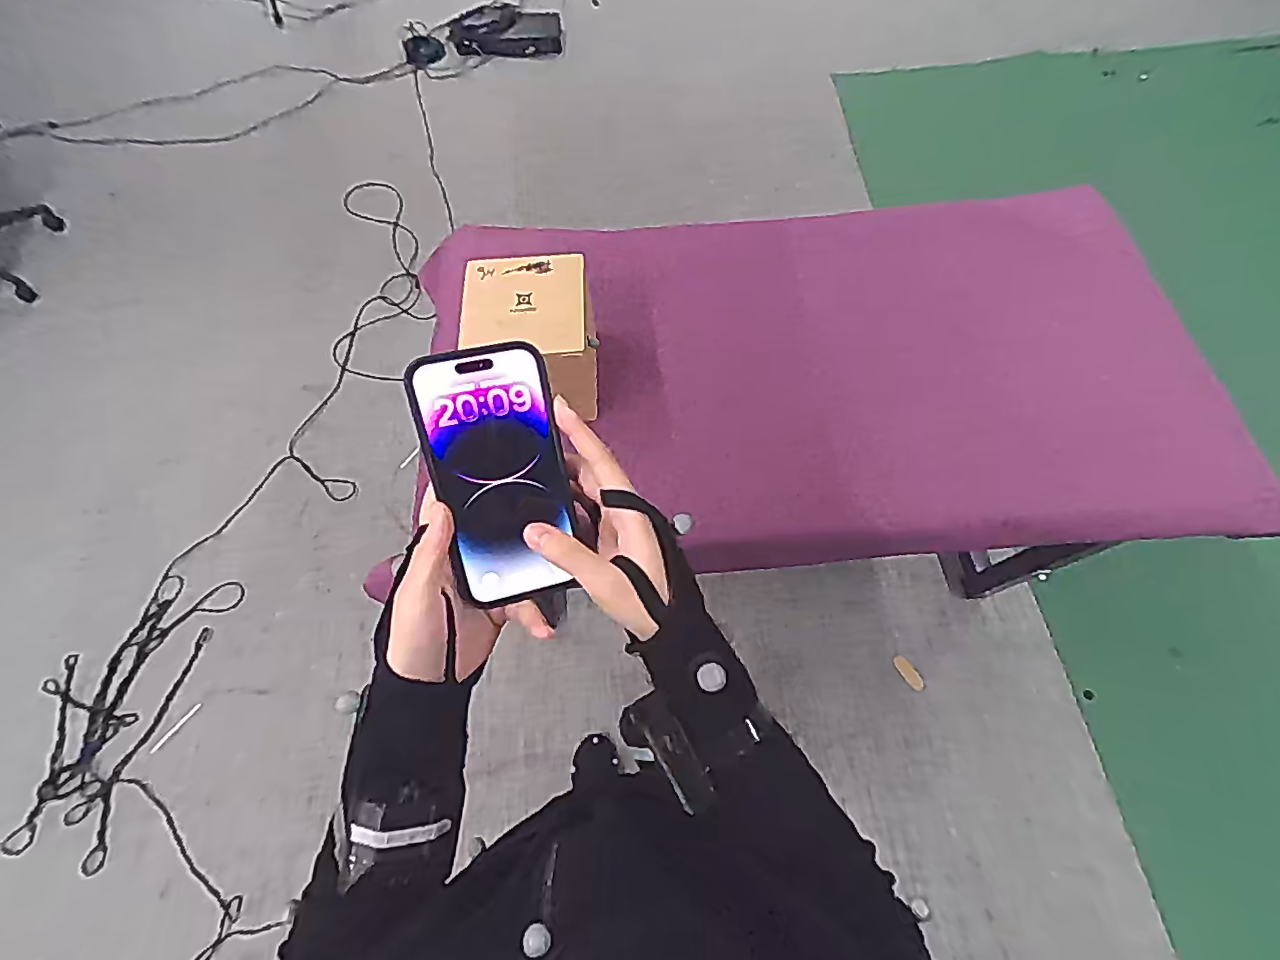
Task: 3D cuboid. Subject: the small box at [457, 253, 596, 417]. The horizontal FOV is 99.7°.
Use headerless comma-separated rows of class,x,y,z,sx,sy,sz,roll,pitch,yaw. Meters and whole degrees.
small box,-0.155,-0.202,0.798,0.168,0.176,0.179,-3,66,0
